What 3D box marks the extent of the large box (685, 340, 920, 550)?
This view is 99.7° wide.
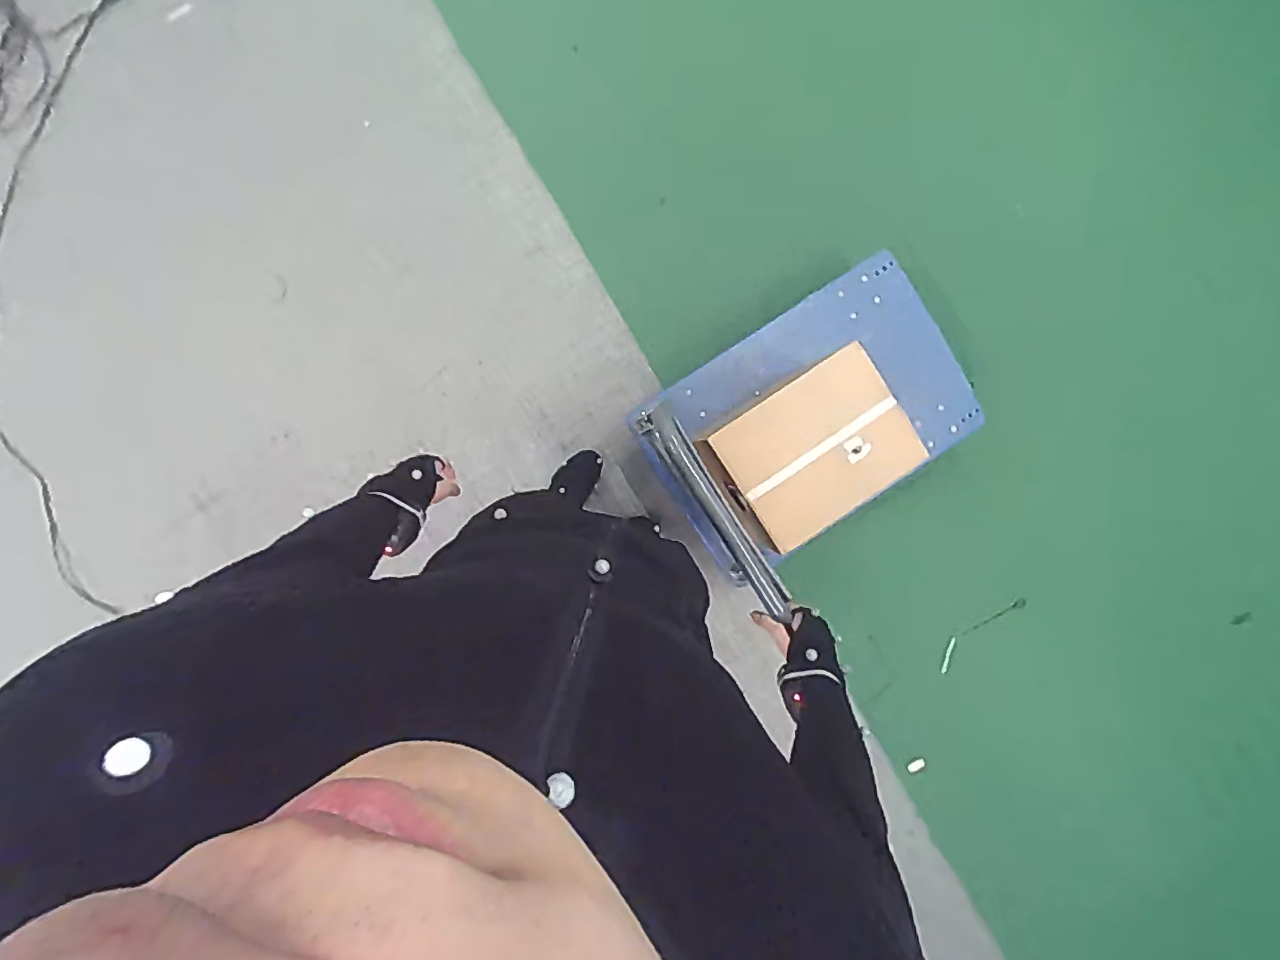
[{"bbox_3d":[0.376,-0.079,1.347,0.408,0.320,0.320,-33,94,-3],"label":"large box"}]
